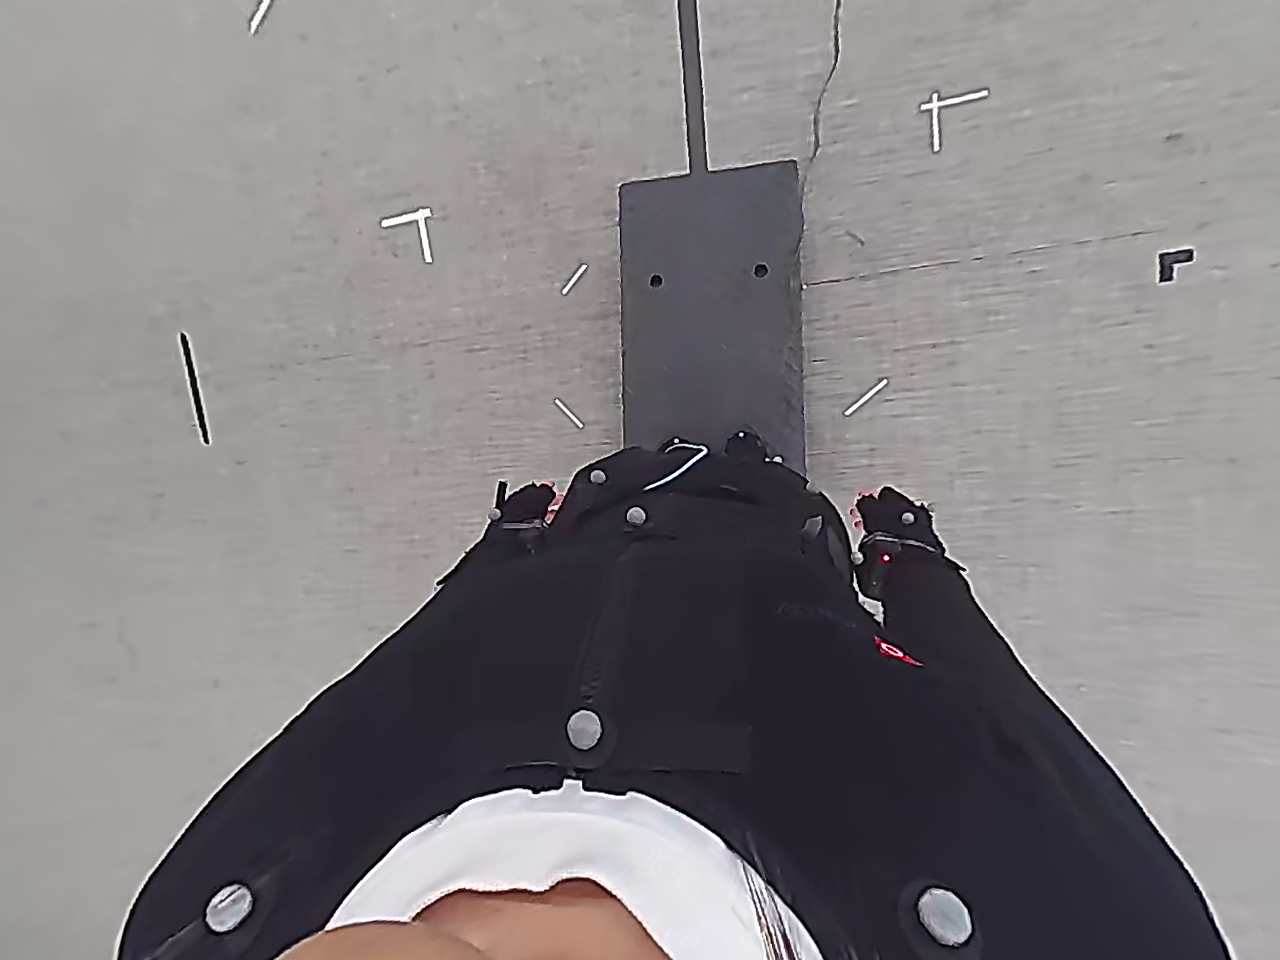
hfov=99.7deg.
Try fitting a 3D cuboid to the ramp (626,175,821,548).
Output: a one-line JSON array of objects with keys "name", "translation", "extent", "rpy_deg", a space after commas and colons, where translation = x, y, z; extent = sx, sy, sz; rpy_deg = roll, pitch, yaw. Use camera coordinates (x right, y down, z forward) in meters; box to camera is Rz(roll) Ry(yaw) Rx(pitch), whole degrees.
[{"name": "ramp", "translation": [0.210, -0.319, 1.484], "extent": [0.509, 0.206, 0.991], "rpy_deg": [-5, 95, 14]}]
